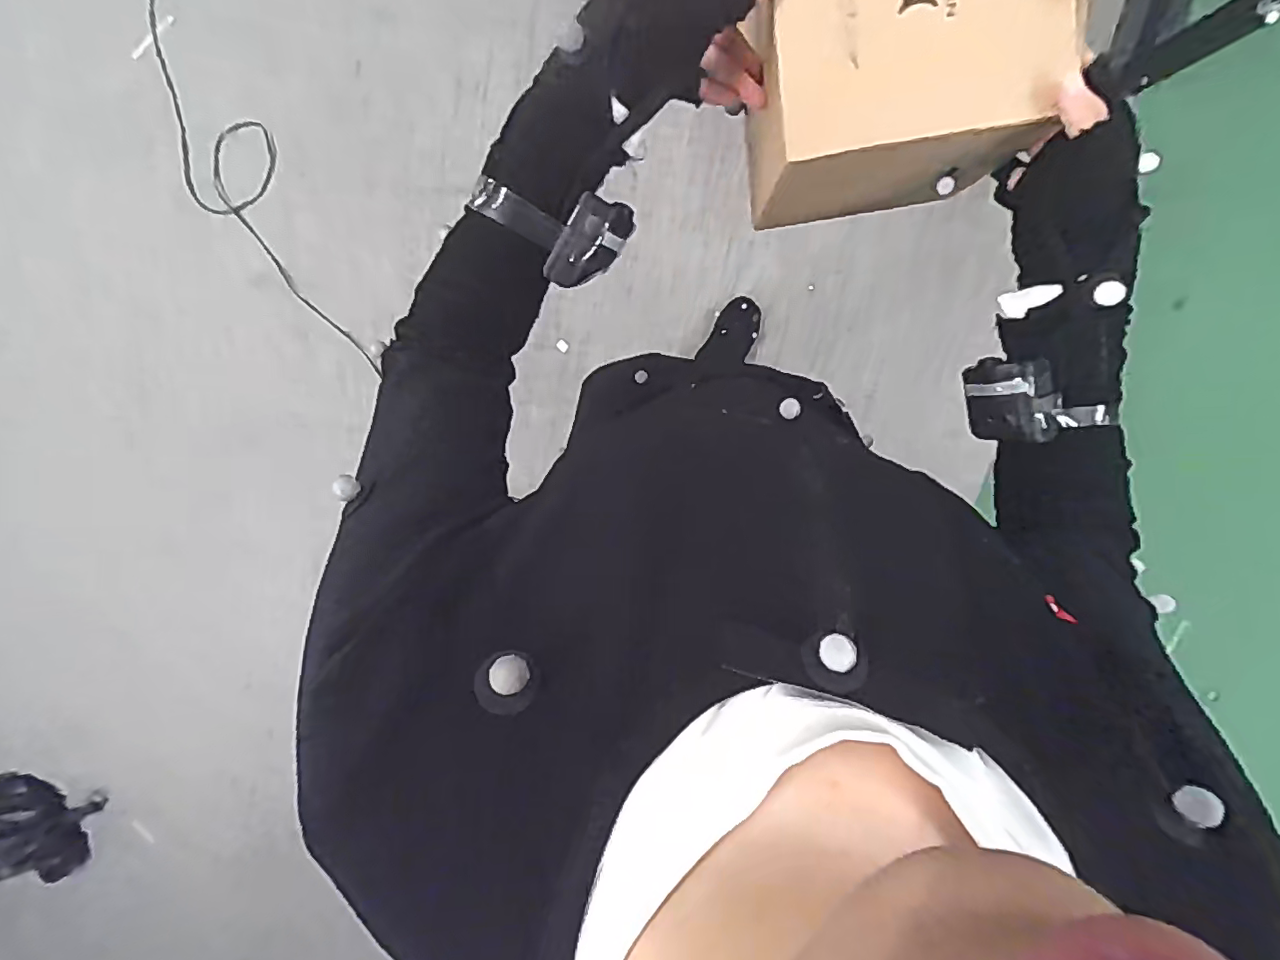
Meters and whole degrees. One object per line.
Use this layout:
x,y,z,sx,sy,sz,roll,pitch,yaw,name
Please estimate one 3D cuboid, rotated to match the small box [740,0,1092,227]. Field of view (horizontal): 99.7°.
0.174,-0.302,0.390,0.179,0.176,0.168,-7,98,7,small box
